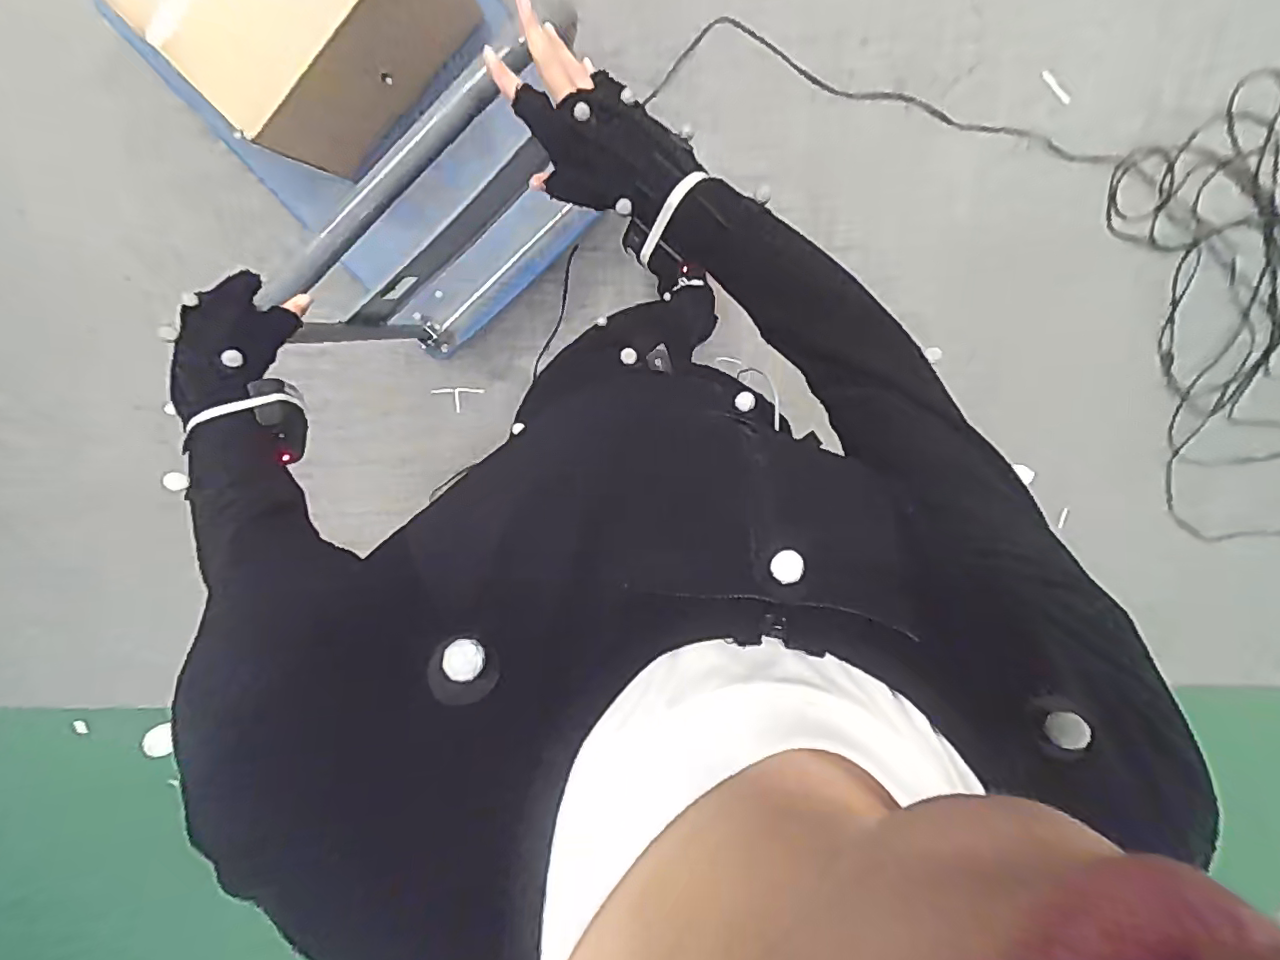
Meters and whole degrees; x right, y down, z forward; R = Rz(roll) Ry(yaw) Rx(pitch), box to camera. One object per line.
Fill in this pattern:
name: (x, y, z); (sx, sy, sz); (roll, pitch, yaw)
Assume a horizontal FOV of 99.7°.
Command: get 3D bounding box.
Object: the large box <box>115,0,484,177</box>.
large box: (-0.528, -0.786, 0.872); (0.408, 0.320, 0.320); (-40, 105, 13)
